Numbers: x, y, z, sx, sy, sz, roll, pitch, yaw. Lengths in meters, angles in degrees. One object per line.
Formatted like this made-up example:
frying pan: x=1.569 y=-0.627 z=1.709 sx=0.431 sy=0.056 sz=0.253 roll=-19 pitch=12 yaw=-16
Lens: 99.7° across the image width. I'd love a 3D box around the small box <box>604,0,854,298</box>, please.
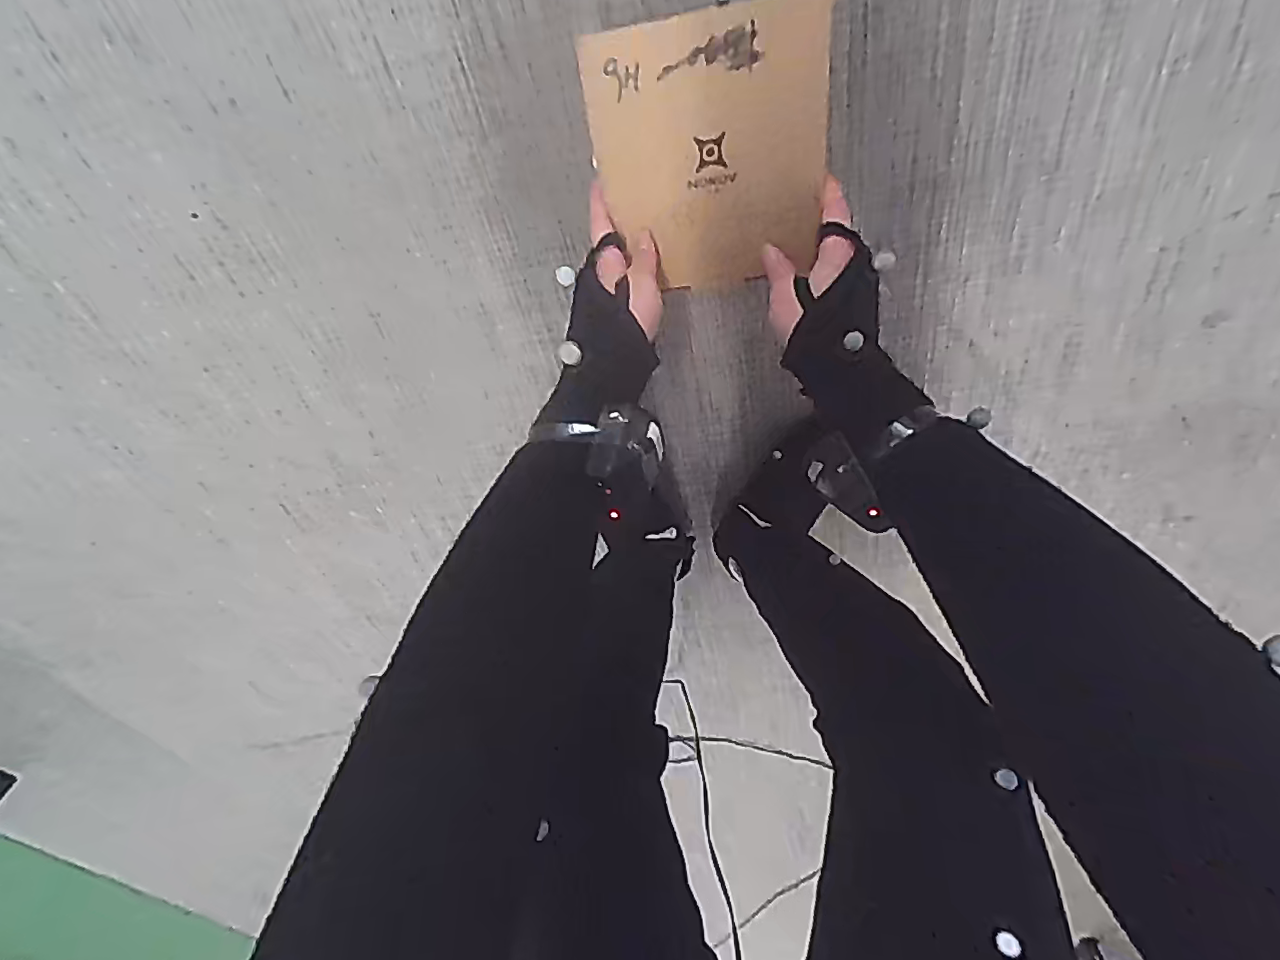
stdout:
small box: x=0.072 y=-0.281 z=0.465 sx=0.168 sy=0.176 sz=0.179 roll=-7 pitch=127 yaw=8
